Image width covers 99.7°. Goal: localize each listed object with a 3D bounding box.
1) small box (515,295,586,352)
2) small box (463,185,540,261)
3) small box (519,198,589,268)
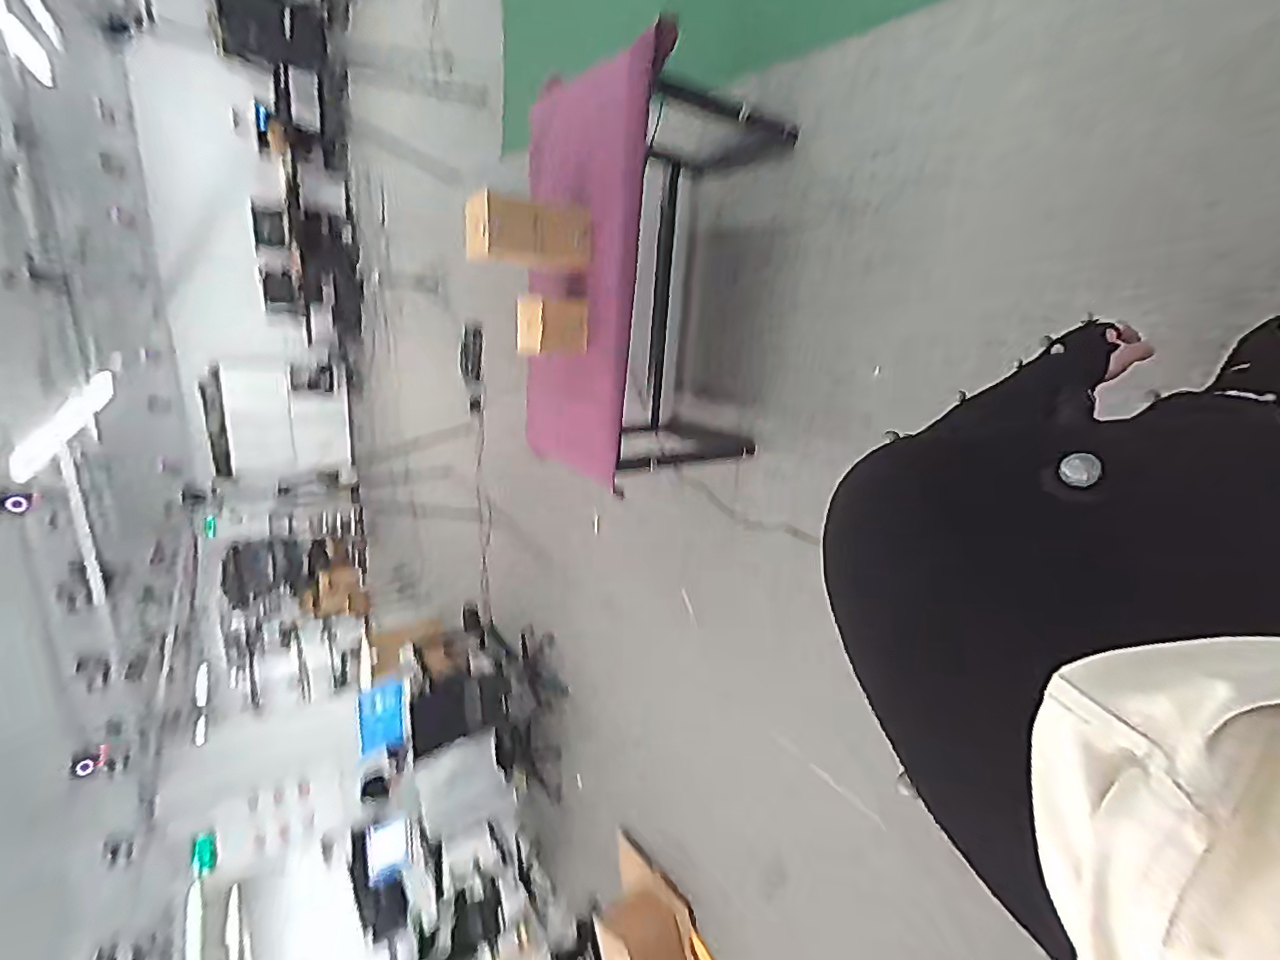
[{"bbox_3d":[-0.293,-0.508,1.758,0.179,0.176,0.168,22,114,49],"label":"small box"},{"bbox_3d":[-0.407,-0.744,1.585,0.179,0.176,0.168,20,113,51],"label":"small box"},{"bbox_3d":[-0.275,-0.761,1.682,0.179,0.176,0.168,21,113,50],"label":"small box"}]
